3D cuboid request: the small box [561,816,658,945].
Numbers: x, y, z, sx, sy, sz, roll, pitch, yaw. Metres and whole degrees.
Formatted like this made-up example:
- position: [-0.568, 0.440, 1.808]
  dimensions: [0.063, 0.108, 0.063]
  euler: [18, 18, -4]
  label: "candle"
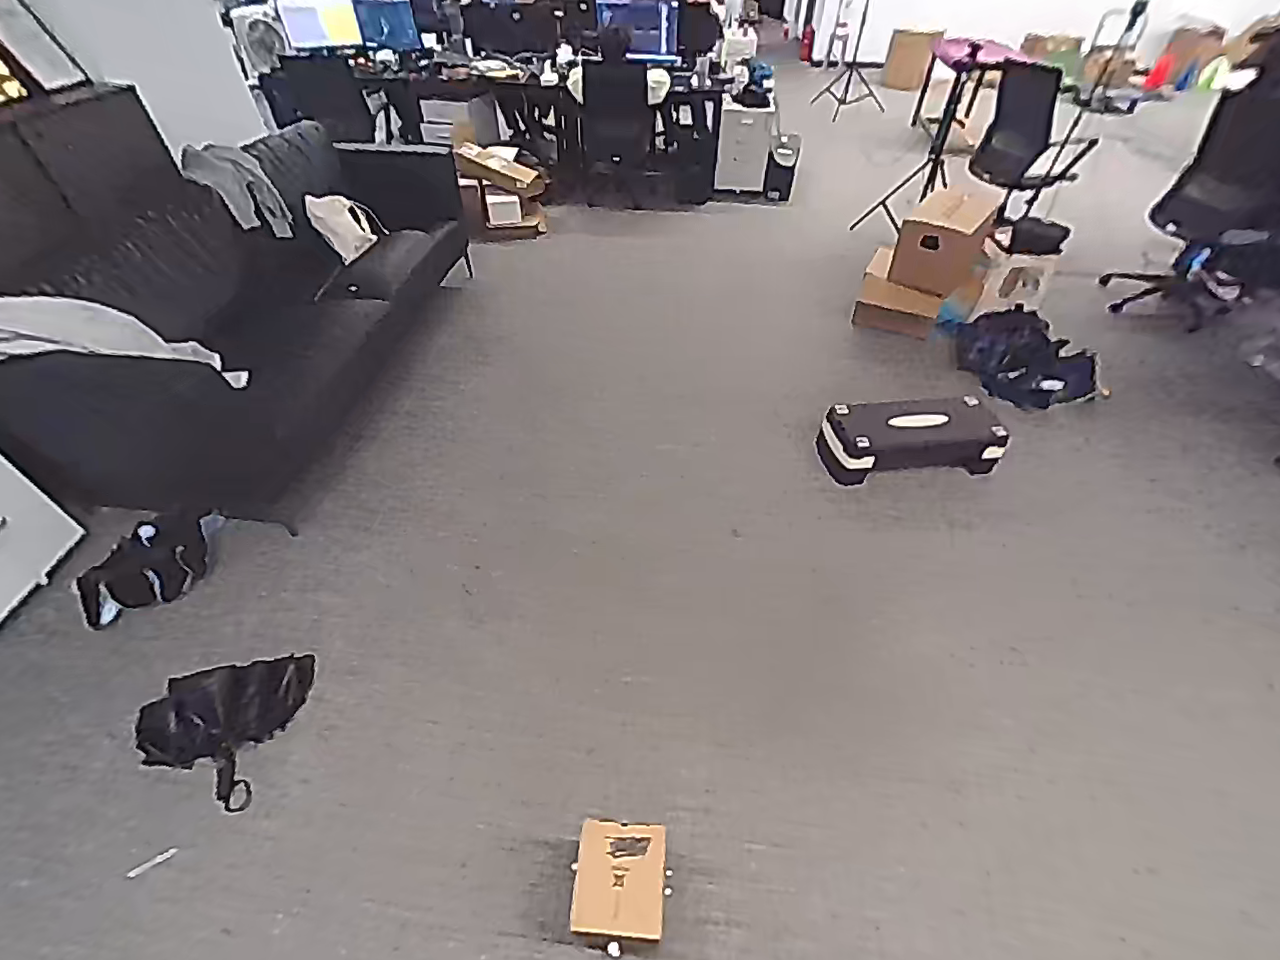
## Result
- position: [-0.054, 0.794, 1.072]
  dimensions: [0.168, 0.176, 0.179]
  euler: [4, 46, 4]
  label: "small box"
